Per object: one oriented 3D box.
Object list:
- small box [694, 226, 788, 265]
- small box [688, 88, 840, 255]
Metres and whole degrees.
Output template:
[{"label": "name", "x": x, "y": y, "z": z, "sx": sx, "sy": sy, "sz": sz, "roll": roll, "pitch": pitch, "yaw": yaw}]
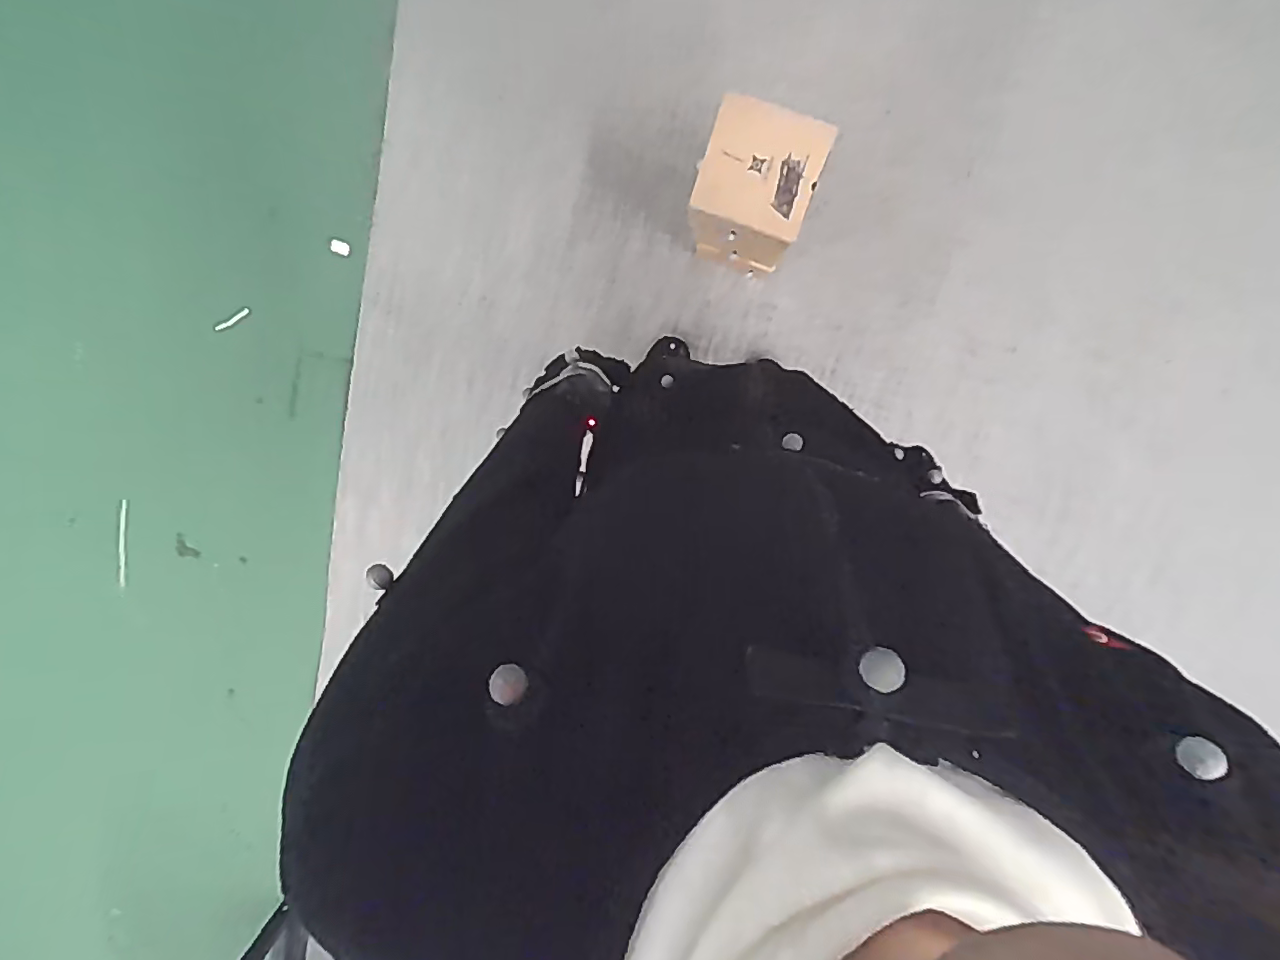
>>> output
[{"label": "small box", "x": 0.214, "y": -0.525, "z": 1.040, "sx": 0.179, "sy": 0.176, "sz": 0.168, "roll": 20, "pitch": 106, "yaw": 1}, {"label": "small box", "x": 0.189, "y": -0.482, "z": 0.880, "sx": 0.179, "sy": 0.176, "sz": 0.168, "roll": 23, "pitch": 104, "yaw": 0}]
